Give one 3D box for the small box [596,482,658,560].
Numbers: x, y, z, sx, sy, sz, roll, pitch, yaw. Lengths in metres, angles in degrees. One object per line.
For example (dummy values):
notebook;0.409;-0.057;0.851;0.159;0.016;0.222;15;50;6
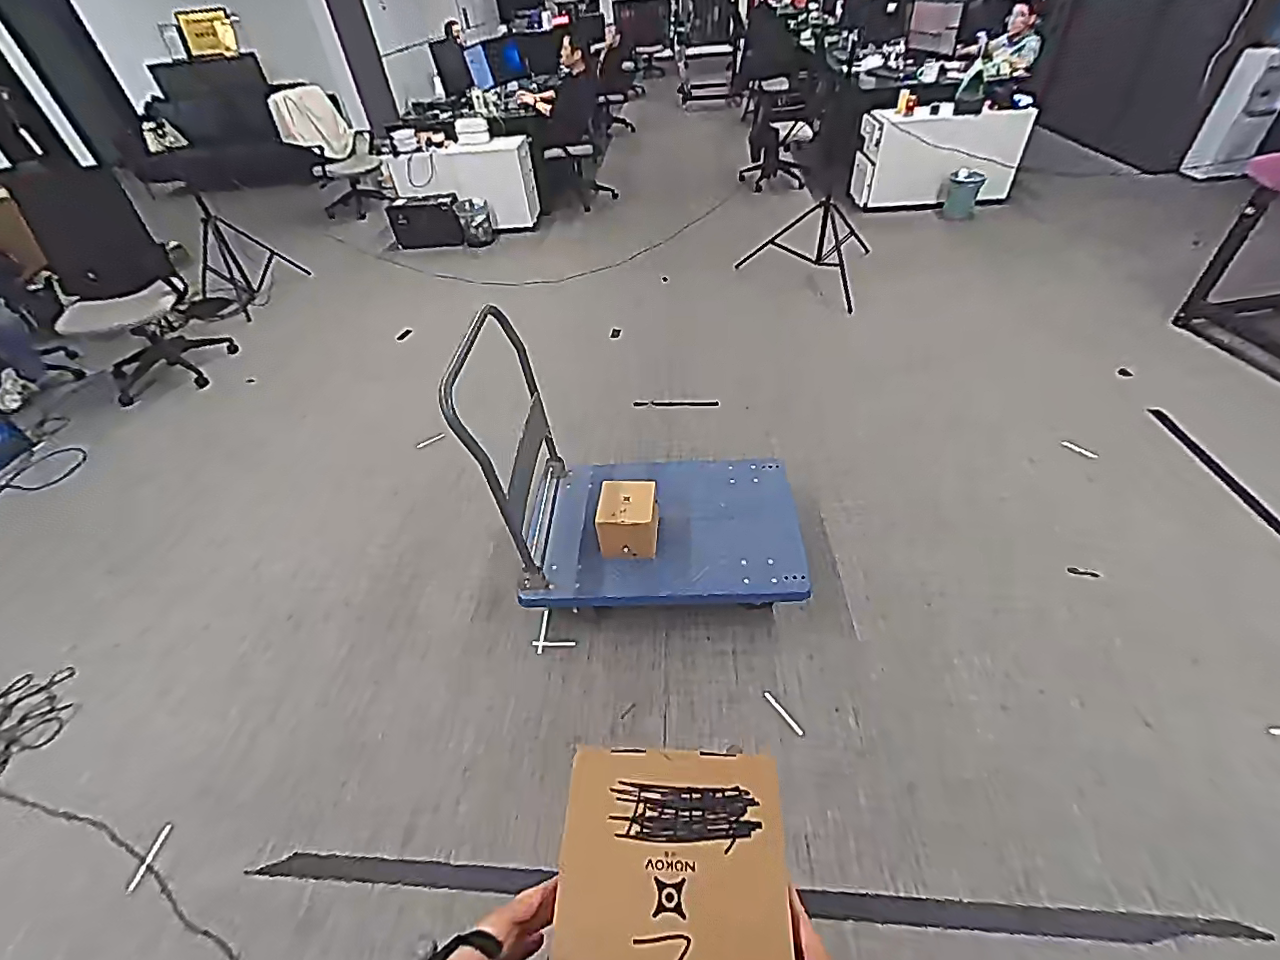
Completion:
small box;-0.033;0.126;1.670;0.168;0.176;0.179;0;44;7
